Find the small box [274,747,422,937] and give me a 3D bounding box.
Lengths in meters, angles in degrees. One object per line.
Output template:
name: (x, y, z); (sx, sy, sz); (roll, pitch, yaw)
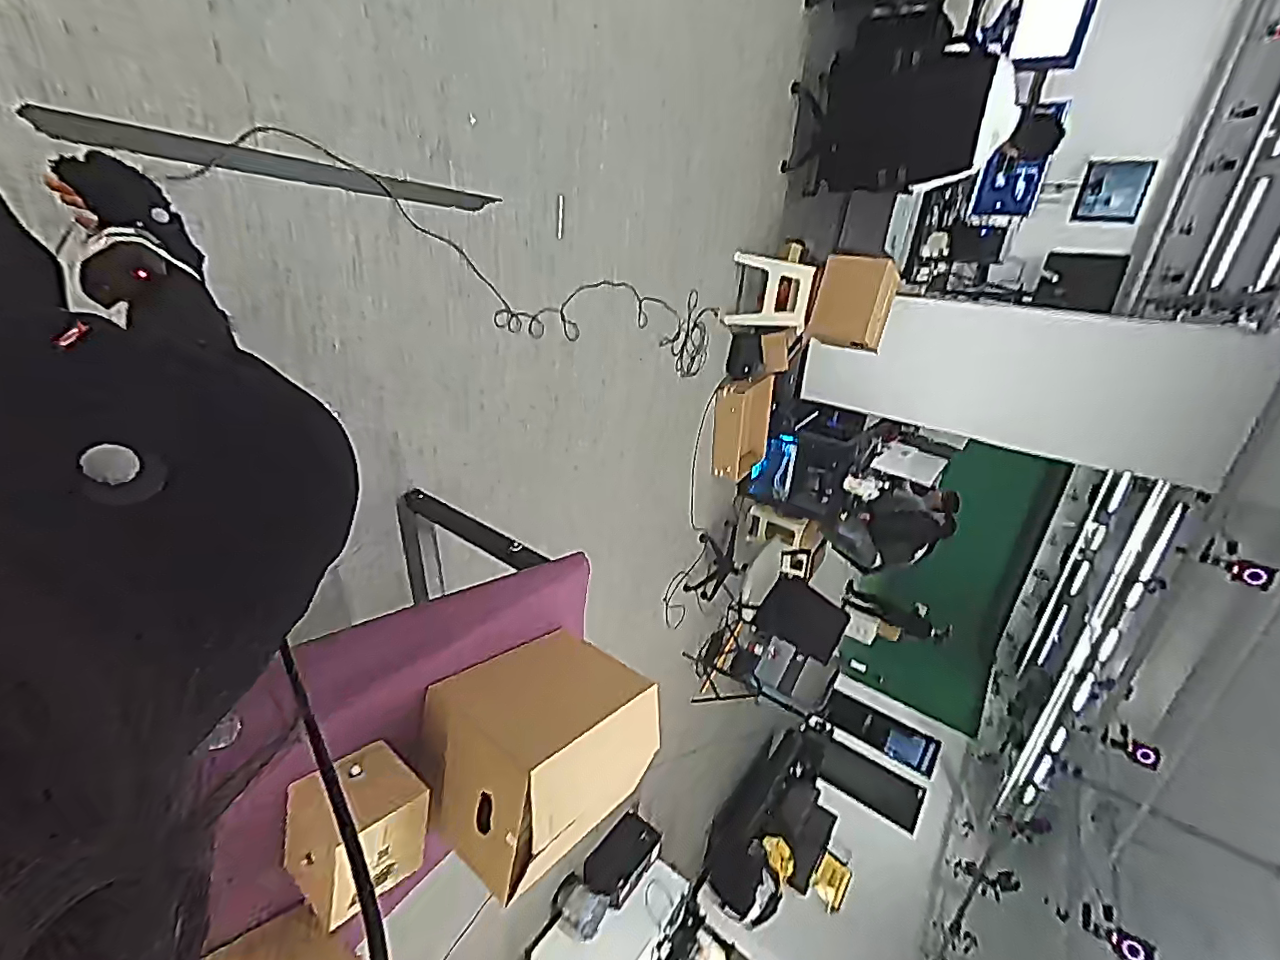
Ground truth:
small box: (-0.509, 0.612, 0.940); (0.168, 0.176, 0.179); (-8, 113, -55)
